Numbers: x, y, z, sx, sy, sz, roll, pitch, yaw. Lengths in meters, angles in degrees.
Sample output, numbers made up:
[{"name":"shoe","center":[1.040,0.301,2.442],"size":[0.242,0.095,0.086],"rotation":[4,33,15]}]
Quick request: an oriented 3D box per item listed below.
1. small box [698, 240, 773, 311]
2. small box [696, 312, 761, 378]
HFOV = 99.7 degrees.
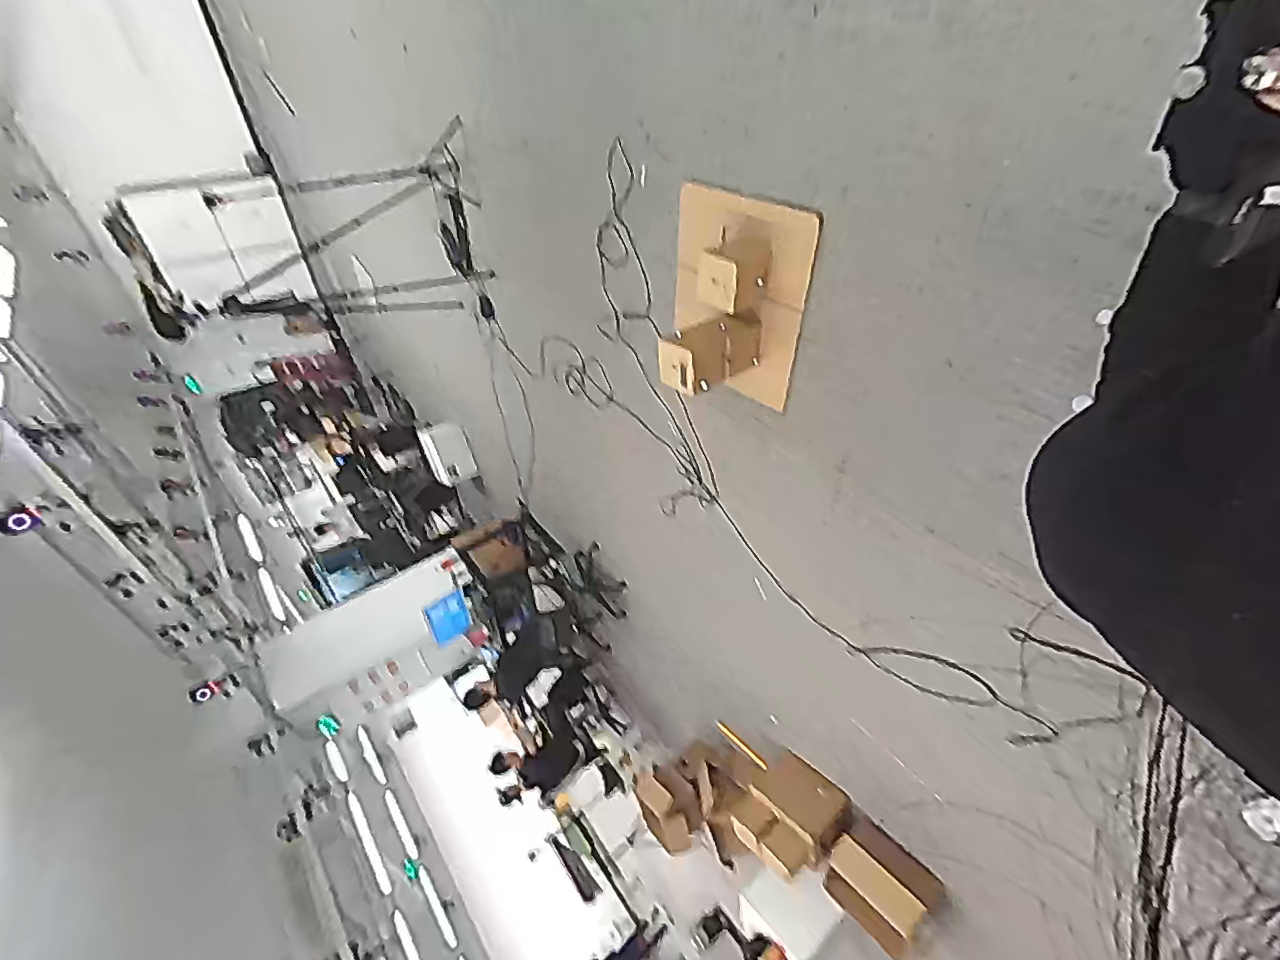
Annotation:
[{"name":"small box","center":[0.318,-0.696,1.823],"size":[0.179,0.176,0.168],"rotation":[38,145,36]},{"name":"small box","center":[0.323,-0.500,1.979],"size":[0.179,0.176,0.168],"rotation":[36,142,40]}]
